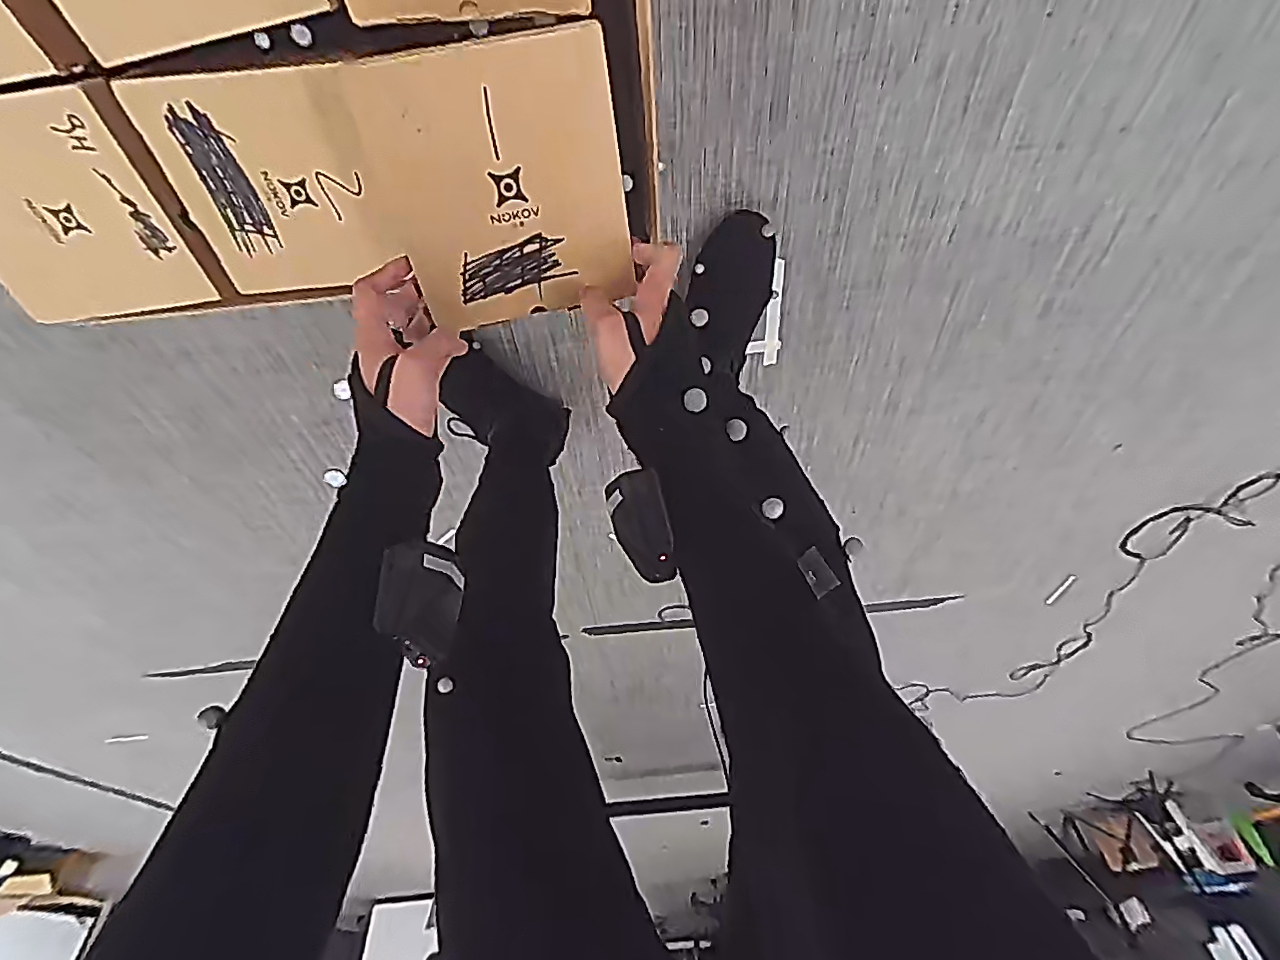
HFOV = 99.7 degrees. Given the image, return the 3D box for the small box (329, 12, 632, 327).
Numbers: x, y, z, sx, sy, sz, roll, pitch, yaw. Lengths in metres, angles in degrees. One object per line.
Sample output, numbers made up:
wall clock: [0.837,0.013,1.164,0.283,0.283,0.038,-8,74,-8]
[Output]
small box: [-0.109,-0.251,0.436,0.168,0.176,0.179,-13,129,-5]
